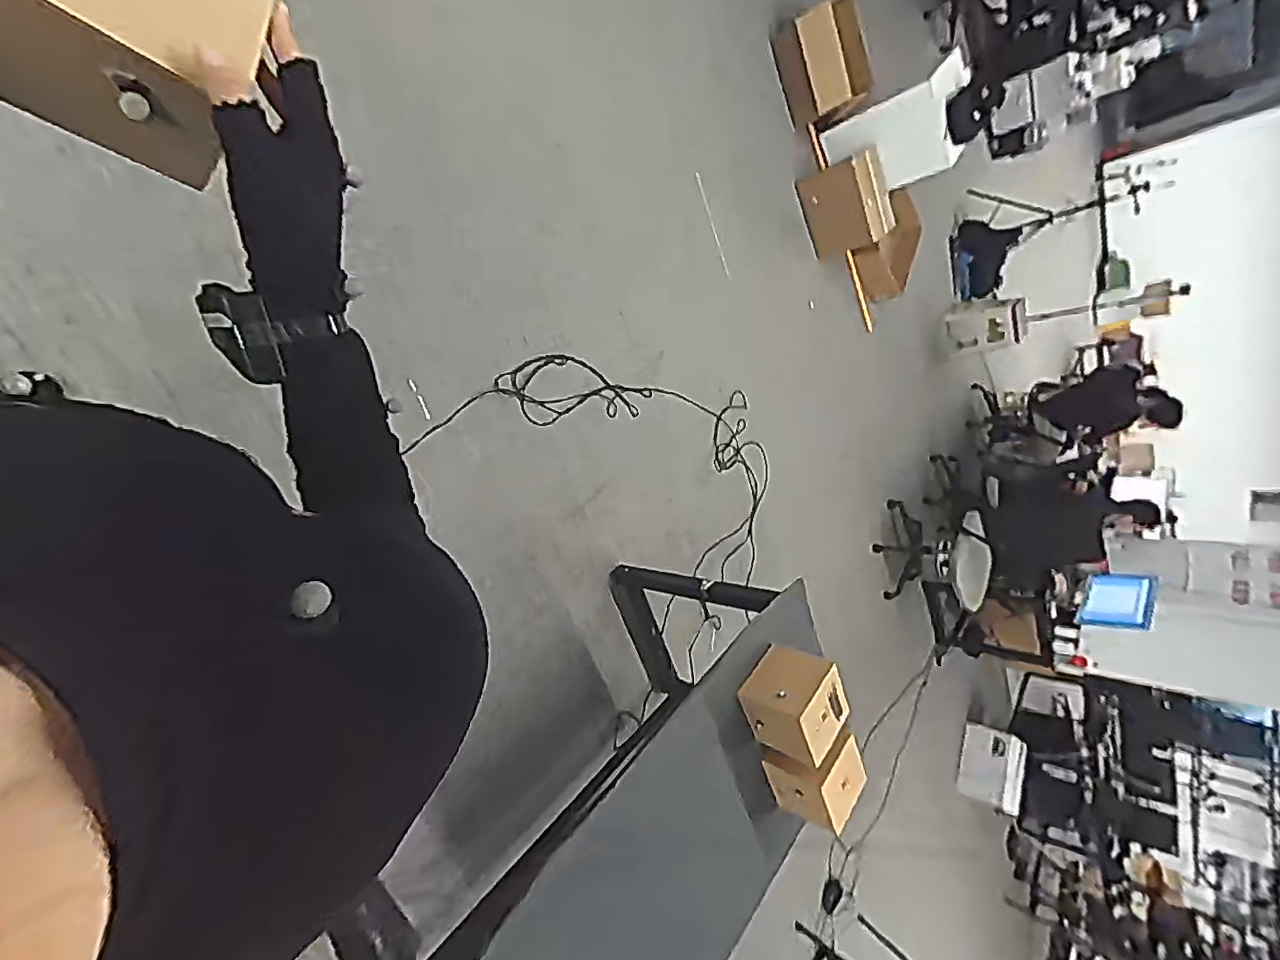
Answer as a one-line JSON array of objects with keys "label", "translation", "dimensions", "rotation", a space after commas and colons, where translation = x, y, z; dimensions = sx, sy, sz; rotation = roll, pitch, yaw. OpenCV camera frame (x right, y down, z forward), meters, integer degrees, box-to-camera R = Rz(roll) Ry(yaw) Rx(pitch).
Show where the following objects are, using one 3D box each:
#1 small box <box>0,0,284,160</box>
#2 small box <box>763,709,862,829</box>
[{"label": "small box", "translation": [-0.329, -0.327, 0.322], "dimensions": [0.179, 0.176, 0.168], "rotation": [18, 82, -45]}, {"label": "small box", "translation": [0.427, 0.716, 1.360], "dimensions": [0.179, 0.176, 0.168], "rotation": [-37, 115, -36]}]
